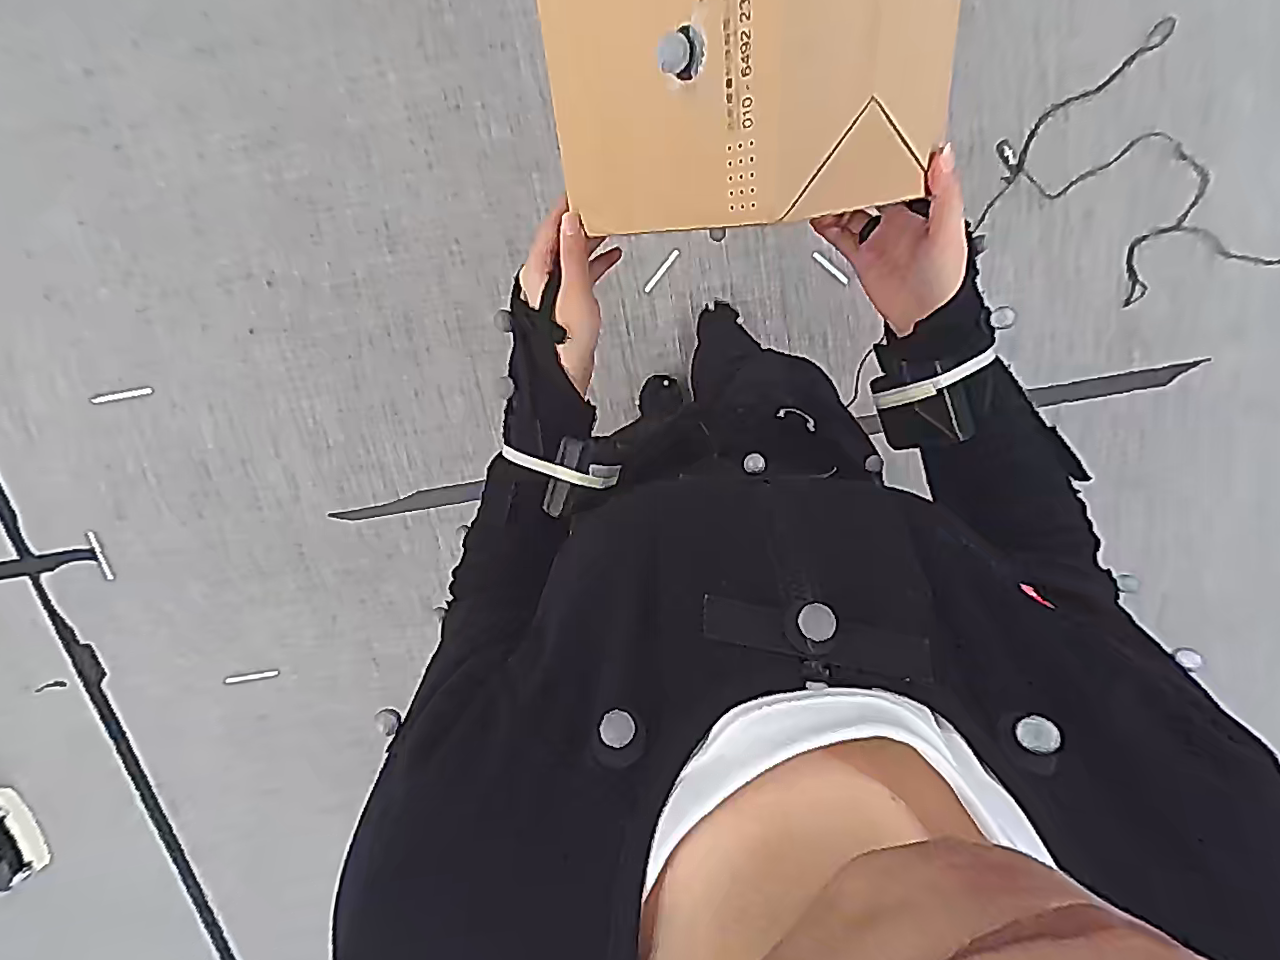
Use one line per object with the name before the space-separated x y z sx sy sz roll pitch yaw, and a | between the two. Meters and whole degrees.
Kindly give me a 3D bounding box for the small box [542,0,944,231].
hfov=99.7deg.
small box | 0.065 -0.252 0.326 0.179 0.176 0.168 -27 122 -34
